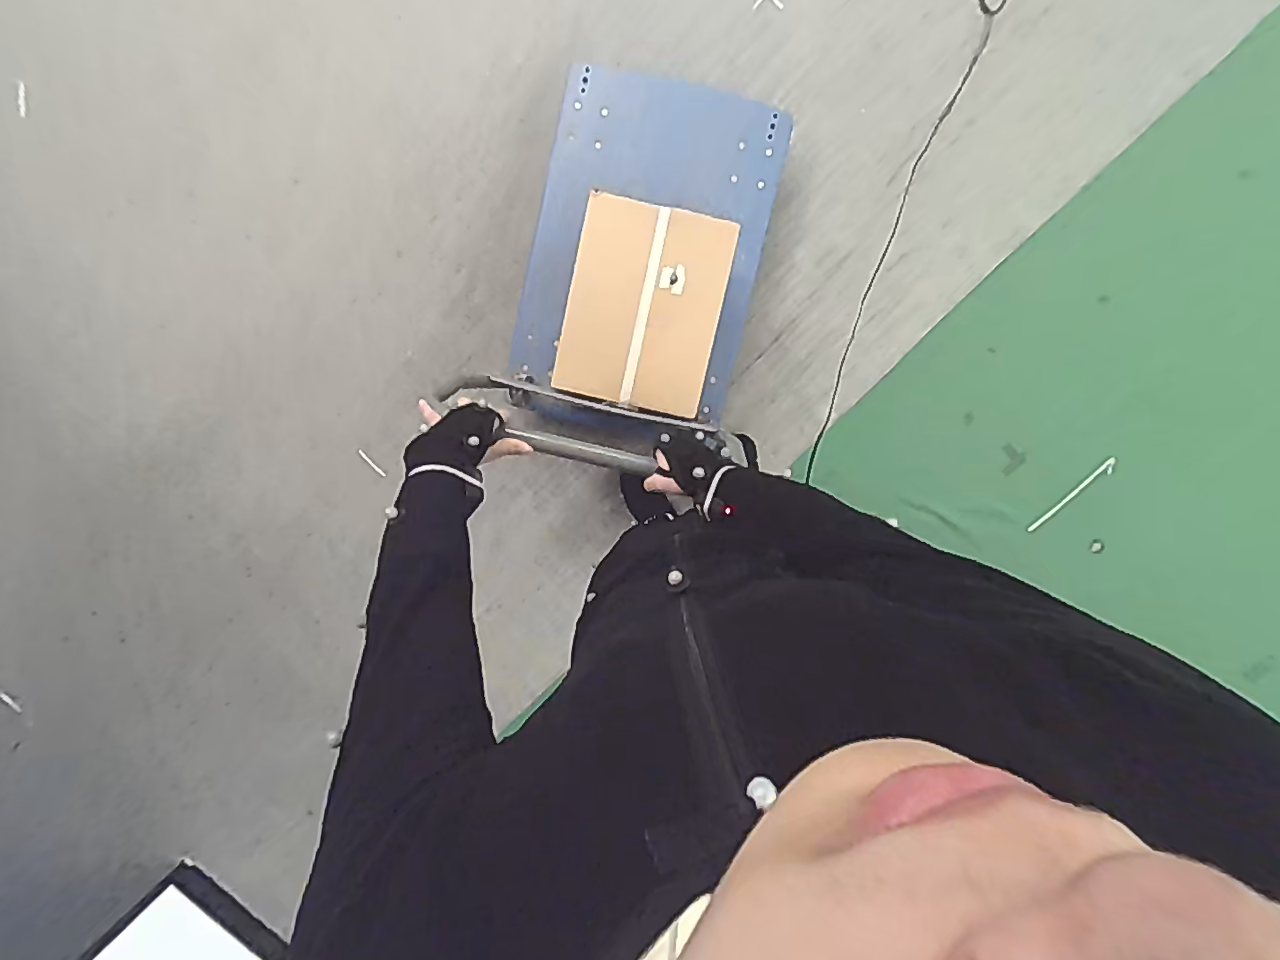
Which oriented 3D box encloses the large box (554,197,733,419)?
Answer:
[{"bbox_3d":[0.006,-0.371,1.276,0.320,0.320,0.408,13,95,-1],"label":"large box"}]
